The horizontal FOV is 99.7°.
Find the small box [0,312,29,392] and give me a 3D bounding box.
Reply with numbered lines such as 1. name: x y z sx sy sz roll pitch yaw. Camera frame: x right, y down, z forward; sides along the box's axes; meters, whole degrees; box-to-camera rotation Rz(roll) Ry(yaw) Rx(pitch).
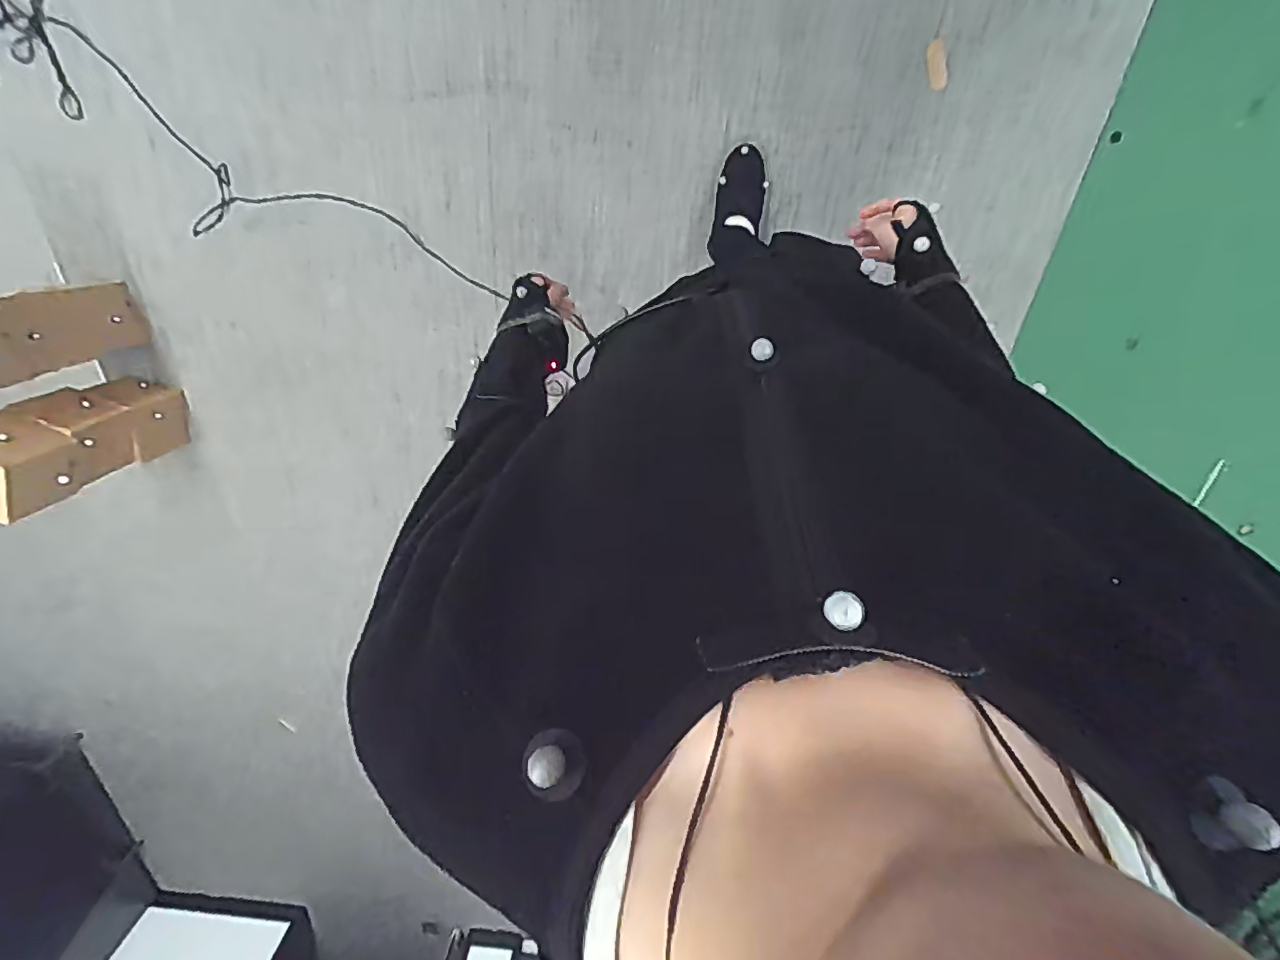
1. small box: -1.461 -0.264 1.131 0.179 0.176 0.168 2 117 1

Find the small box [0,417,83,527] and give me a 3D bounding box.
1. small box: -1.464 -0.027 1.251 0.179 0.176 0.168 26 115 -8

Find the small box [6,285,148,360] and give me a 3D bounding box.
1. small box: -1.457 -0.414 1.421 0.179 0.176 0.168 0 116 5

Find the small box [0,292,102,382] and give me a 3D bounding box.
1. small box: -1.456 -0.335 1.278 0.168 0.176 0.179 -5 116 6

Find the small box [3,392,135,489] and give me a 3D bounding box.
1. small box: -1.460 -0.102 1.397 0.168 0.176 0.179 22 115 -5
